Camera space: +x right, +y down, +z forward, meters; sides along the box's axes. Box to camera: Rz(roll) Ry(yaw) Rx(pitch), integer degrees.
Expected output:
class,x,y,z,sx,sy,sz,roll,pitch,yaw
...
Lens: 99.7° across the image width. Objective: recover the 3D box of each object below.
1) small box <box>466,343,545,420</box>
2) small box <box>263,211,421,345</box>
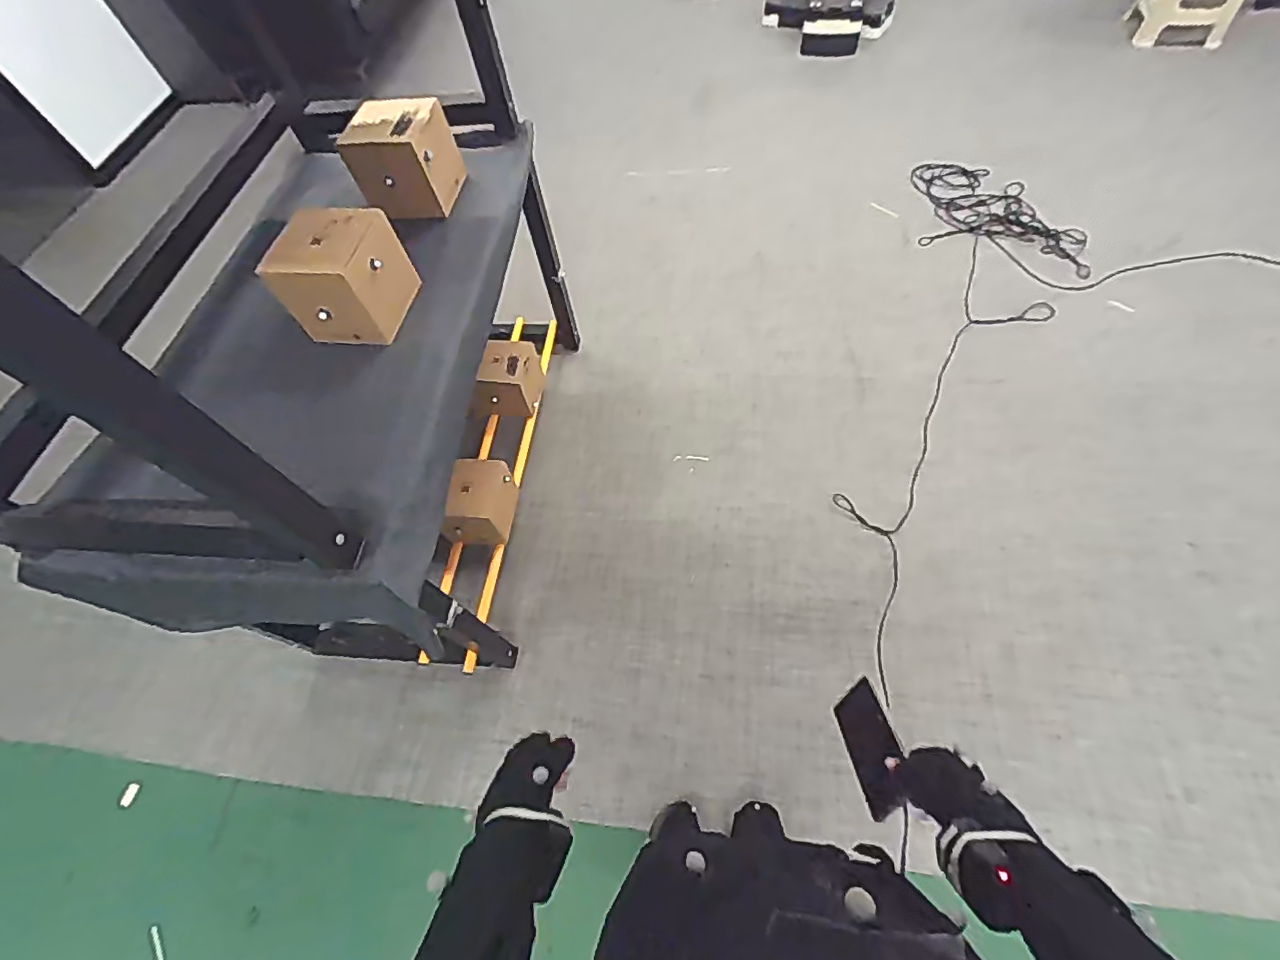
class,x,y,z,sx,sy,sz,roll,pitch,yaw
small box,-0.409,-0.303,1.680,0.179,0.176,0.168,5,60,9
small box,-0.539,-0.372,1.008,0.168,0.176,0.179,5,61,9
